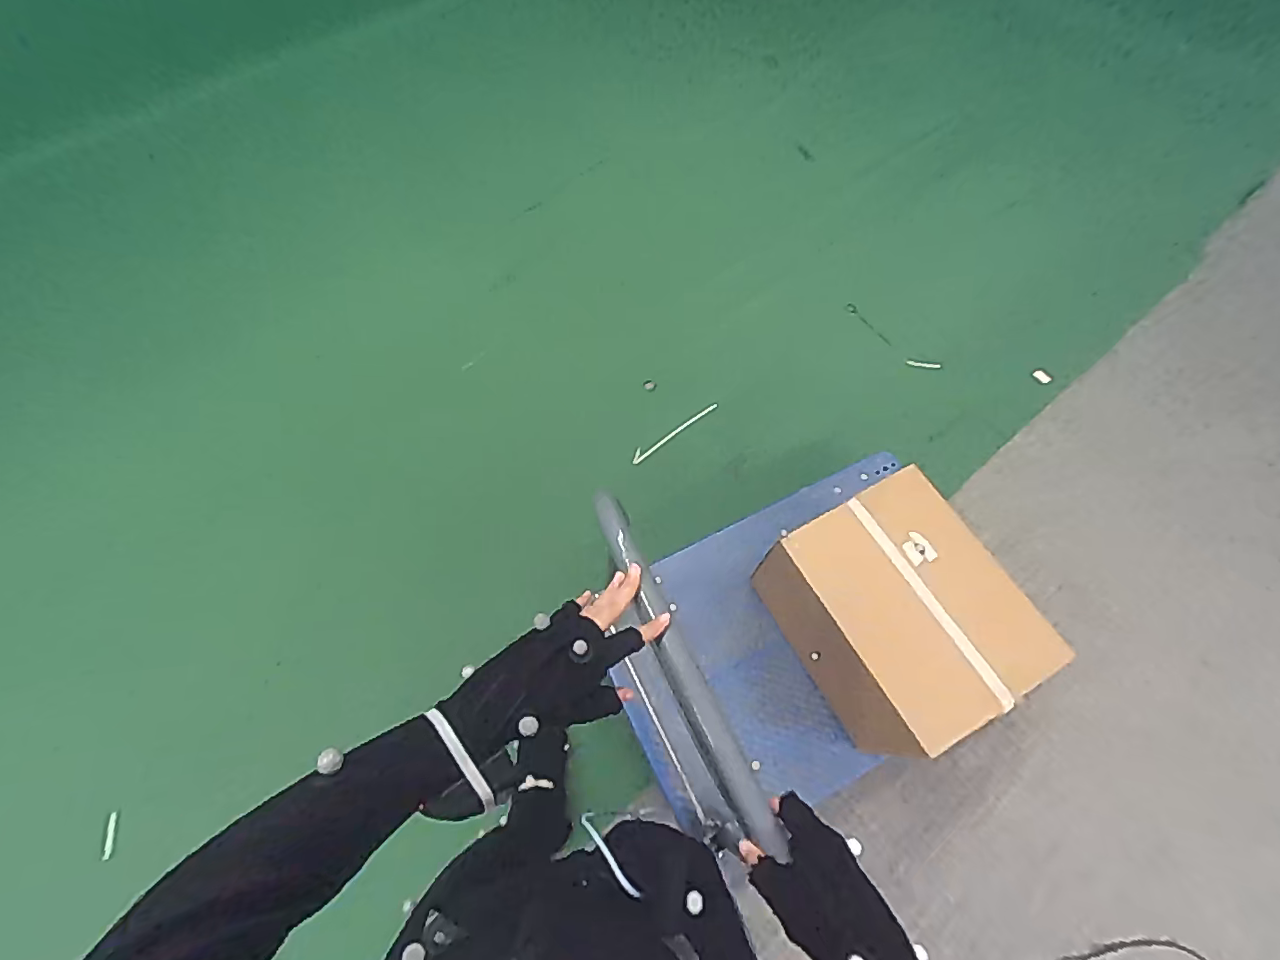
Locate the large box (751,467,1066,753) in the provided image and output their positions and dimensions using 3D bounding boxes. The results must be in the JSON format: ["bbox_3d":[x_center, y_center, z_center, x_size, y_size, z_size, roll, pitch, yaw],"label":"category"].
[{"bbox_3d":[0.472,0.259,1.059,0.320,0.320,0.408,-26,67,-11],"label":"large box"}]
